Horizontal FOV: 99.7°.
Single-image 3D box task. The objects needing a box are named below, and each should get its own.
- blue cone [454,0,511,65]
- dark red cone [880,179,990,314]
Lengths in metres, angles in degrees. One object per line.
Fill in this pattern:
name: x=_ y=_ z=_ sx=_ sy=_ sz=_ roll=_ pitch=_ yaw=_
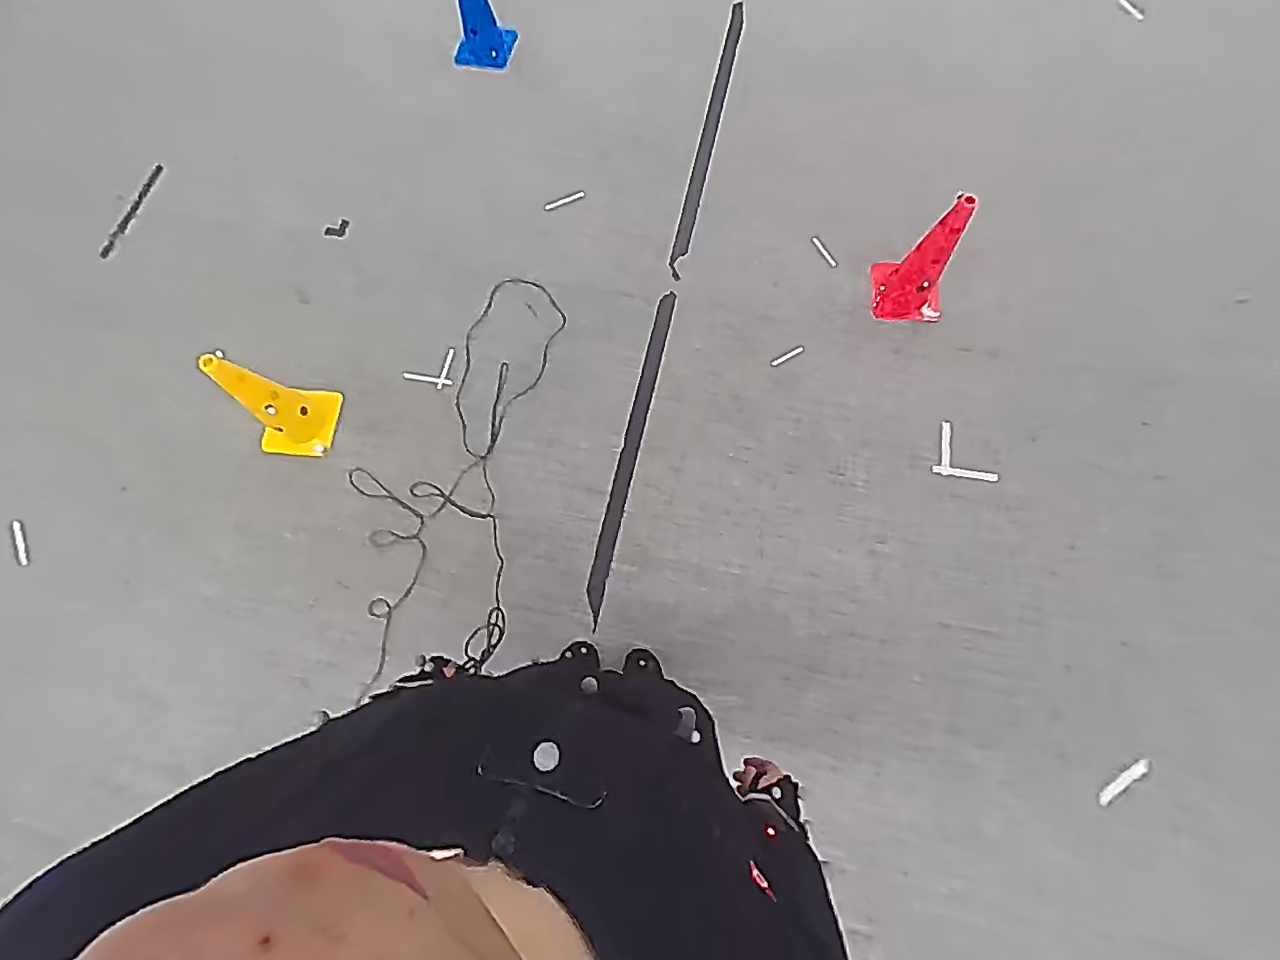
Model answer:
blue cone: x=-0.585 y=-1.641 z=1.823 sx=0.192 sy=0.380 sz=0.193 roll=12 pitch=74 yaw=7
dark red cone: x=0.804 y=-0.630 z=1.438 sx=0.201 sy=0.394 sz=0.202 roll=4 pitch=73 yaw=4
